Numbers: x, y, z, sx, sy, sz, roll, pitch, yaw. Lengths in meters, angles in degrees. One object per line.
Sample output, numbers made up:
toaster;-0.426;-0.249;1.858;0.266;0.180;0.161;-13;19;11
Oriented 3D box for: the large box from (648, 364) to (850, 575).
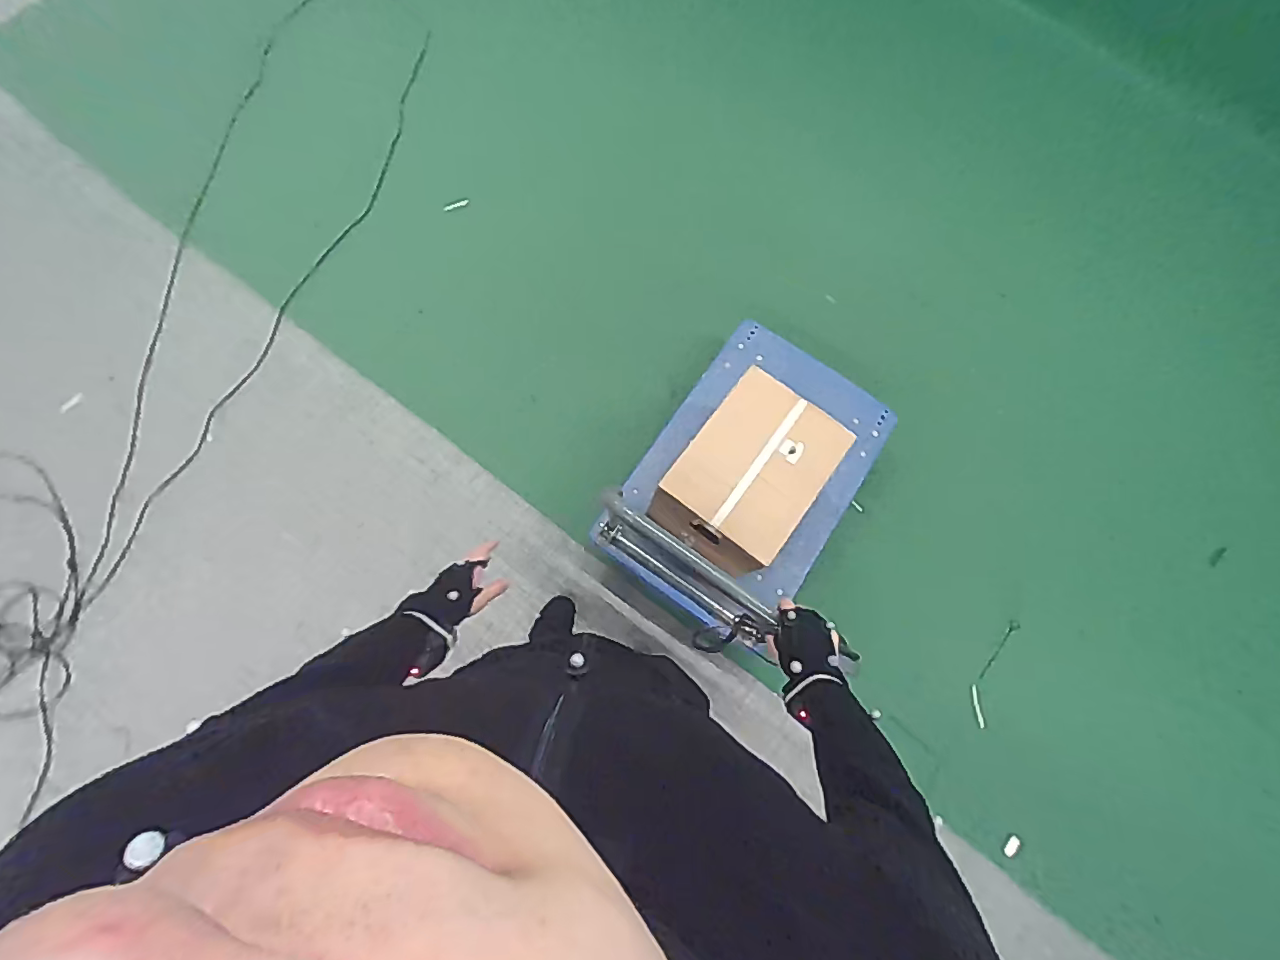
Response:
large box;0.266;-0.011;1.425;0.320;0.320;0.408;38;75;5
